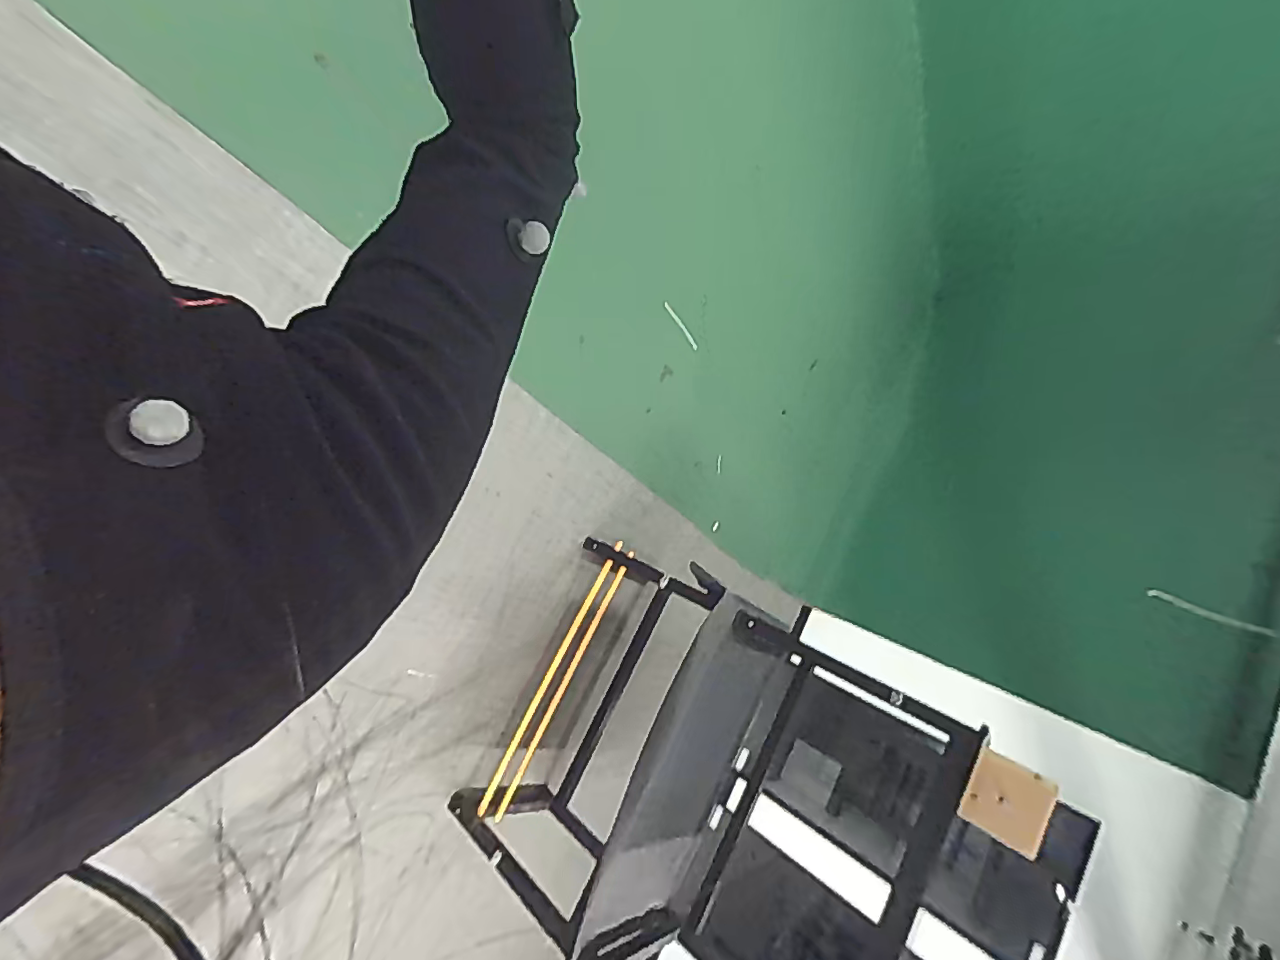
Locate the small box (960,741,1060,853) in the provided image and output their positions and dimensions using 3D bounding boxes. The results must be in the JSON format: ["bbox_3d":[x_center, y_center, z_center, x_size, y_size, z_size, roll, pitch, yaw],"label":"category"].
[{"bbox_3d":[0.929,0.789,1.365,0.179,0.176,0.168,26,87,-52],"label":"small box"}]
